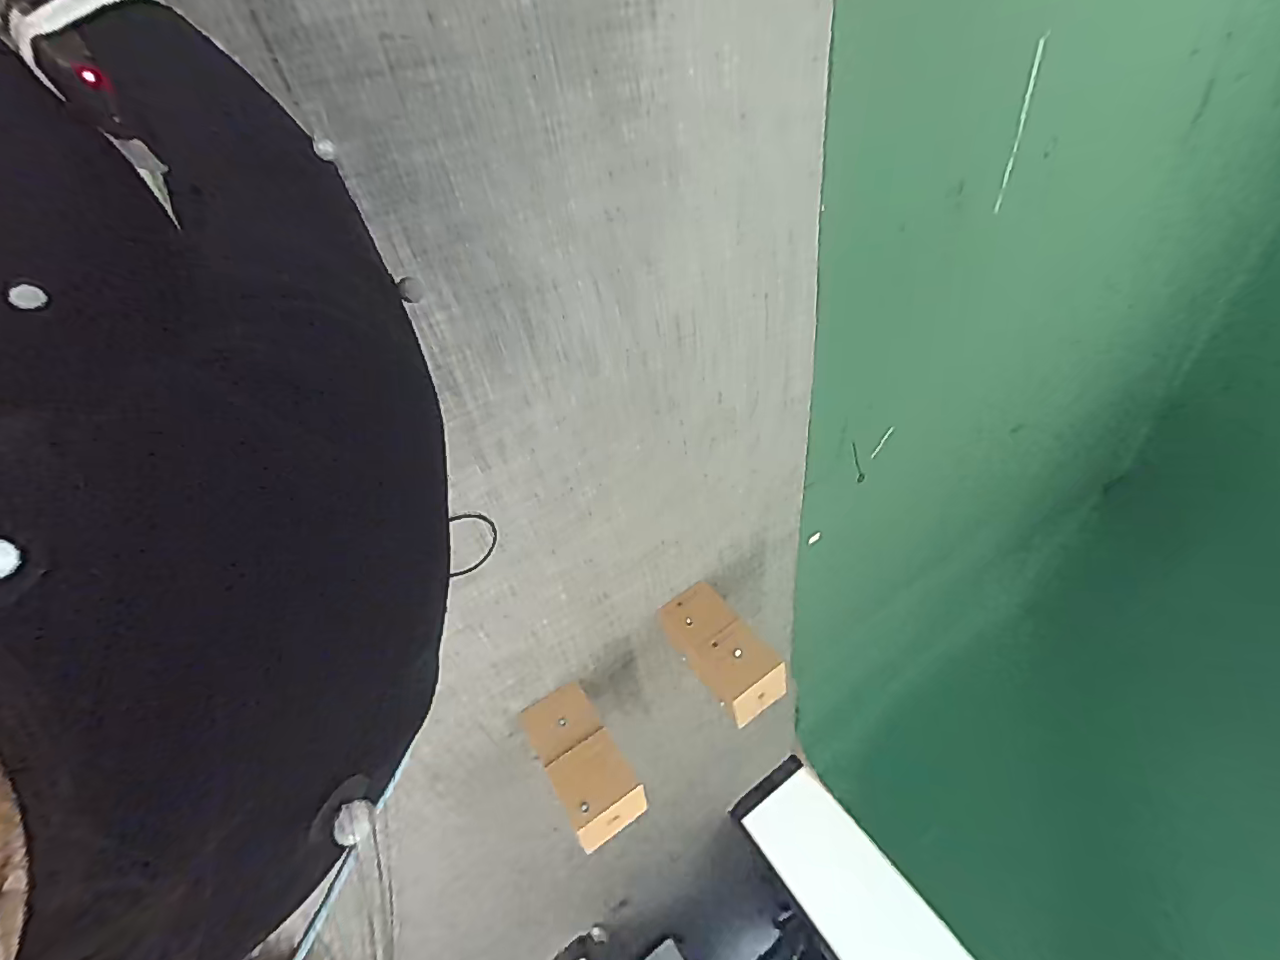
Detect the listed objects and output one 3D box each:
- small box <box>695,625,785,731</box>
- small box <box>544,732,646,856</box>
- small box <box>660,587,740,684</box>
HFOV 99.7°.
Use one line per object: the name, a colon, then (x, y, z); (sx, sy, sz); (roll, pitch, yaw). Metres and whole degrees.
small box: (0.260, 0.511, 1.419); (0.168, 0.176, 0.179); (-30, 135, -15)
small box: (-0.108, 0.754, 1.313); (0.179, 0.176, 0.168); (-26, 134, -20)
small box: (0.171, 0.431, 1.533); (0.168, 0.176, 0.179); (-30, 135, -16)
